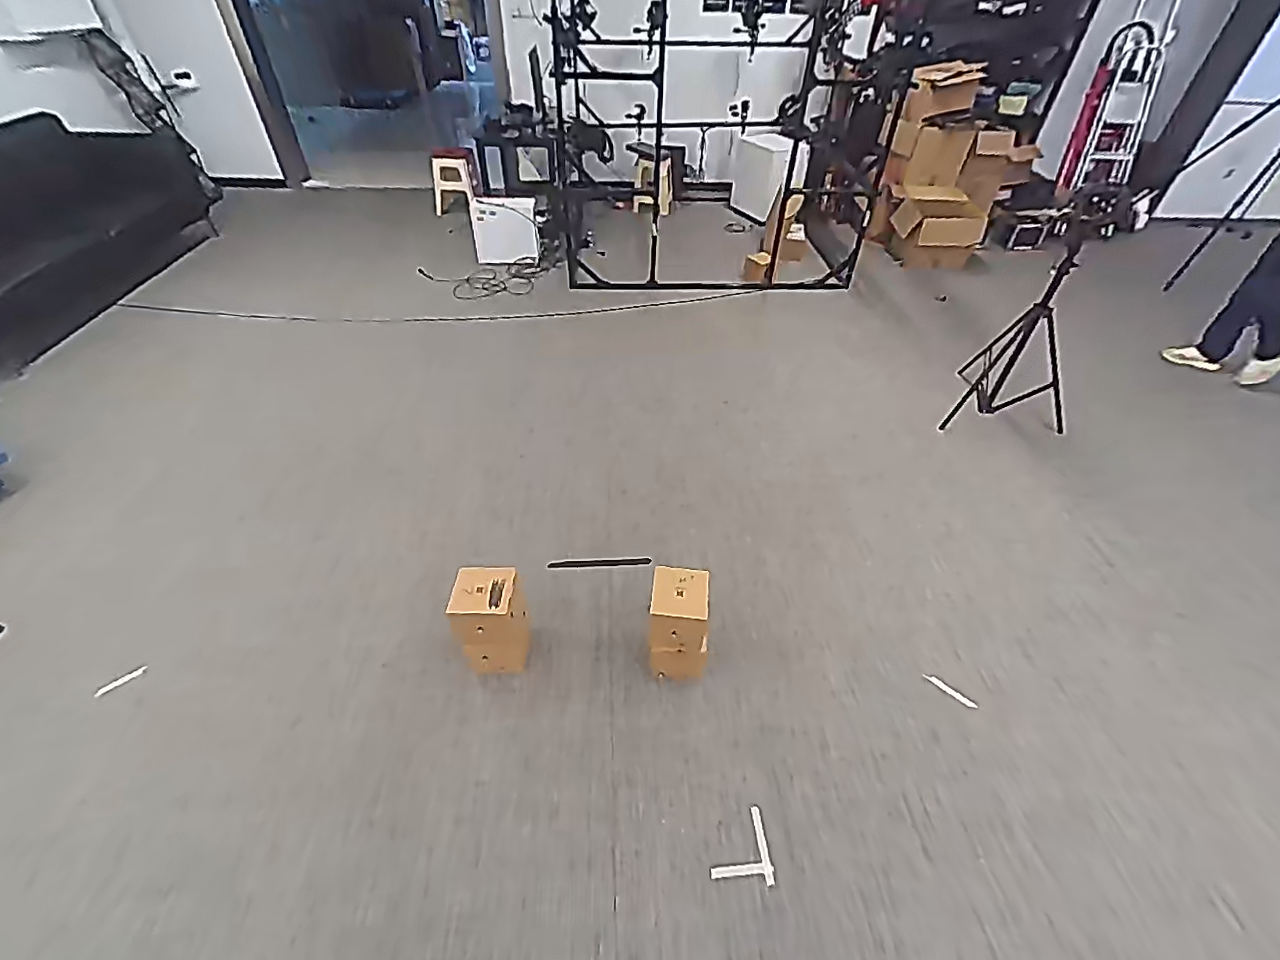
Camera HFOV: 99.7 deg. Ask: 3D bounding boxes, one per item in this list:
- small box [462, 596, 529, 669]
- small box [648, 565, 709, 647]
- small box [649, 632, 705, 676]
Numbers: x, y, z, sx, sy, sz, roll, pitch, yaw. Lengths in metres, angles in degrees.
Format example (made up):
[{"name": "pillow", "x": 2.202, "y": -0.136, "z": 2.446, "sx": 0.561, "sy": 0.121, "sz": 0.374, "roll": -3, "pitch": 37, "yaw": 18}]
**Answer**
[{"name": "small box", "x": -0.456, "y": 0.494, "z": 1.738, "sx": 0.168, "sy": 0.176, "sz": 0.179, "roll": 0, "pitch": 43, "yaw": -1}, {"name": "small box", "x": 0.115, "y": 0.383, "z": 1.631, "sx": 0.168, "sy": 0.176, "sz": 0.179, "roll": 6, "pitch": 43, "yaw": 4}, {"name": "small box", "x": 0.117, "y": 0.511, "z": 1.735, "sx": 0.168, "sy": 0.176, "sz": 0.179, "roll": 2, "pitch": 43, "yaw": -1}]
